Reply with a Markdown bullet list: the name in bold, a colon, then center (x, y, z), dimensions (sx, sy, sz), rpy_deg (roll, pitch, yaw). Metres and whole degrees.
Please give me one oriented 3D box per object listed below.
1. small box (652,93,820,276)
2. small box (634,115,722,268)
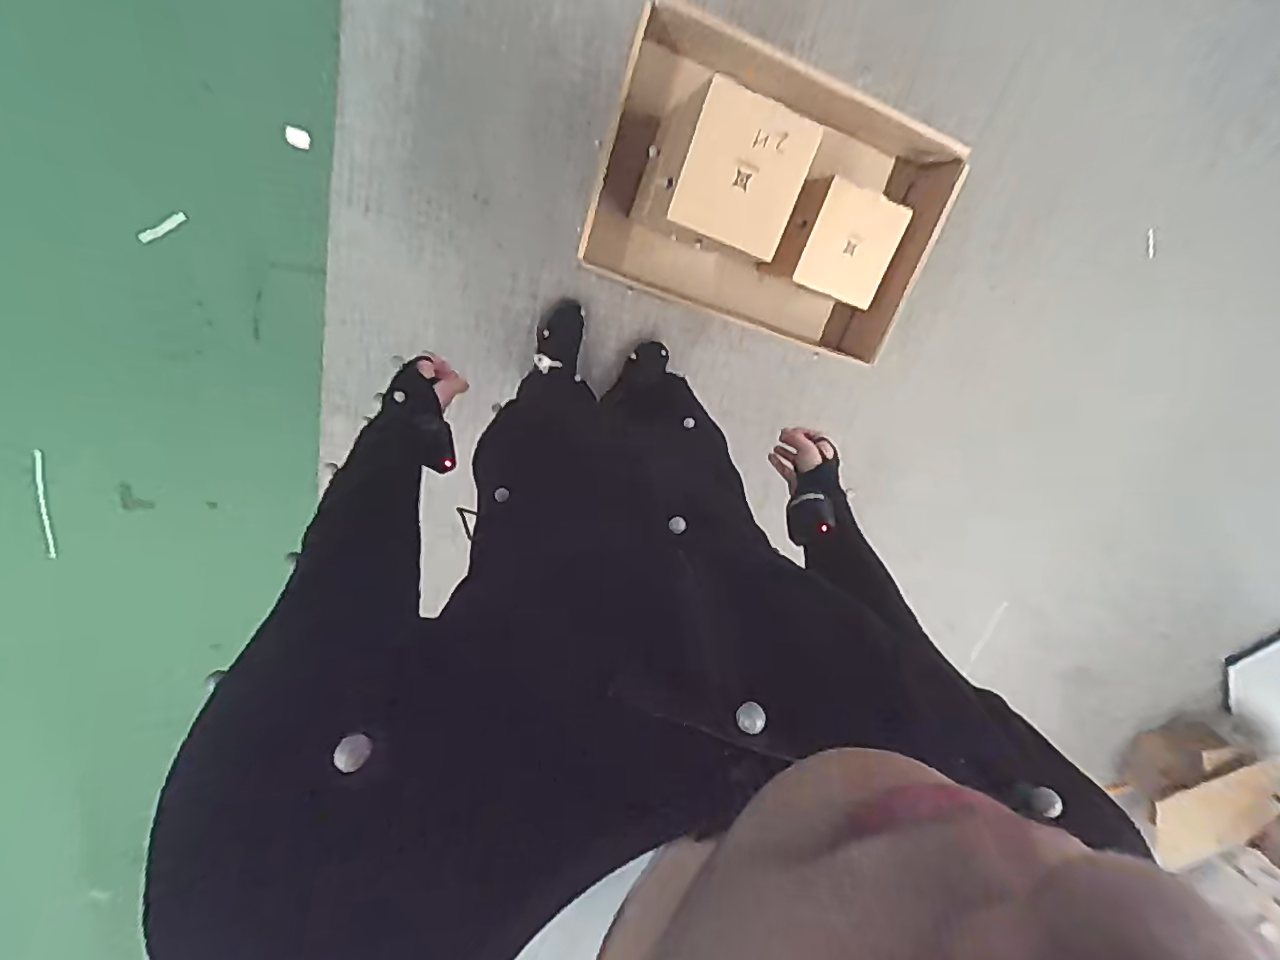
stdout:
- **small box**: center (0.125, -0.419, 0.798), dimensions (0.168, 0.176, 0.179), rpy_deg (15, 109, -16)
- **small box**: center (0.098, -0.488, 0.944), dimensions (0.168, 0.176, 0.179), rpy_deg (17, 108, -15)
